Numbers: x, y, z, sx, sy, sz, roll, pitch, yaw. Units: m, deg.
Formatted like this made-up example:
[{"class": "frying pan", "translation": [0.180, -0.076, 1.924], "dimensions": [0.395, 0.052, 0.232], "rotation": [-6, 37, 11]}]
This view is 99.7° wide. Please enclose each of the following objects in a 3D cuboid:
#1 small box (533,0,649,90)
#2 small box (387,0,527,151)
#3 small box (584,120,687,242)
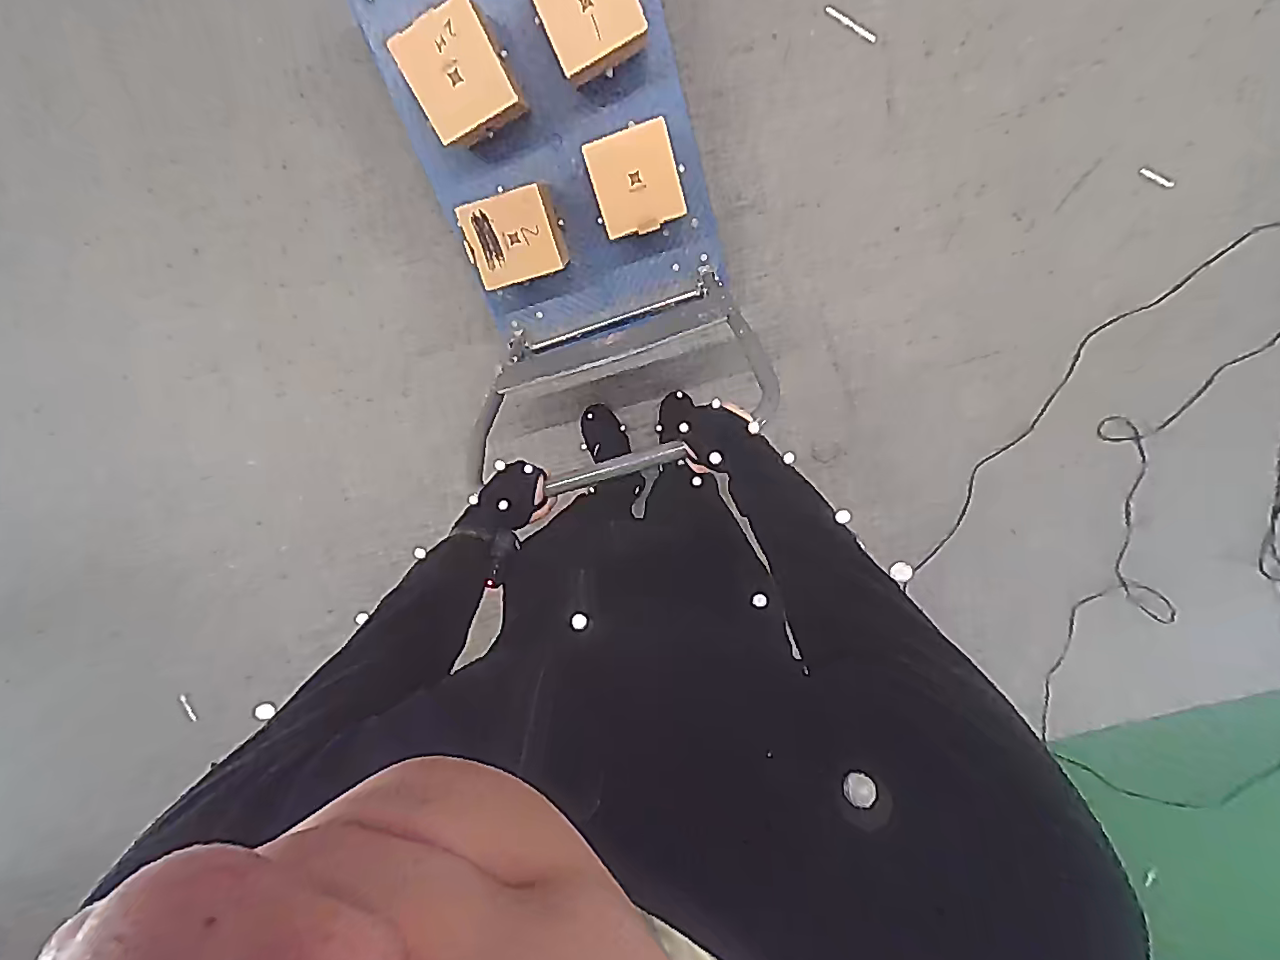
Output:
[{"class": "small box", "translation": [-0.096, -0.853, 0.986], "dimensions": [0.168, 0.176, 0.179], "rotation": [-22, 118, 11]}, {"class": "small box", "translation": [-0.334, -0.758, 1.032], "dimensions": [0.168, 0.176, 0.179], "rotation": [-24, 118, 10]}, {"class": "small box", "translation": [-0.010, -0.616, 1.124], "dimensions": [0.168, 0.176, 0.179], "rotation": [-16, 119, 8]}]
